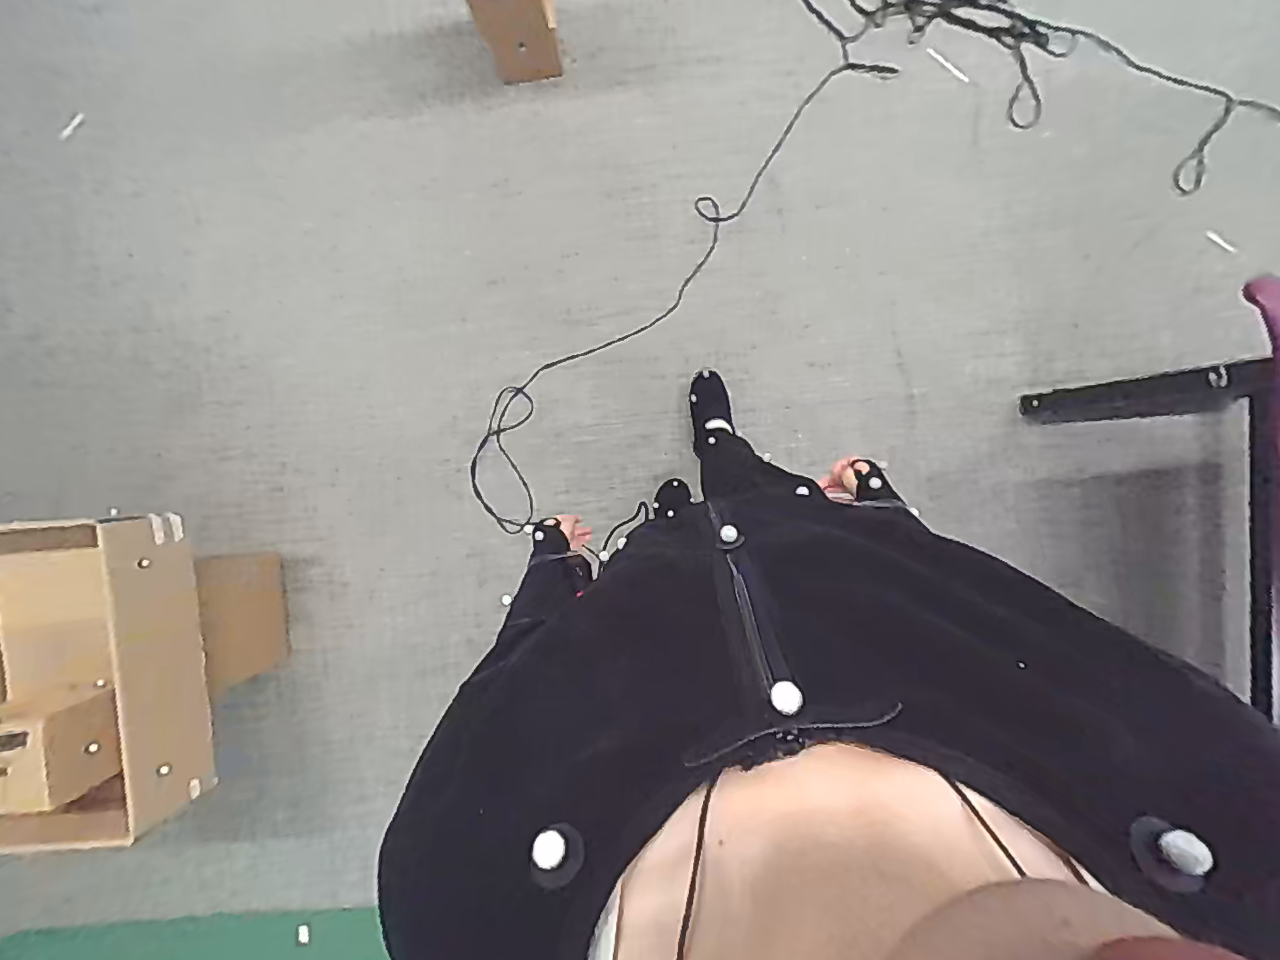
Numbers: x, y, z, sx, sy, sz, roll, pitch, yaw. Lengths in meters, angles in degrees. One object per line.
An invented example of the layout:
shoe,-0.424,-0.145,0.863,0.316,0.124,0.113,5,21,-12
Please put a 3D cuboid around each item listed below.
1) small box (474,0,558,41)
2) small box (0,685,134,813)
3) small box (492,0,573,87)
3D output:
small box,-0.296,-1.152,1.236,0.179,0.176,0.168,-6,93,2
small box,-1.137,0.509,1.046,0.168,0.176,0.179,-2,91,1
small box,-0.280,-1.158,1.400,0.179,0.176,0.168,-6,92,2
